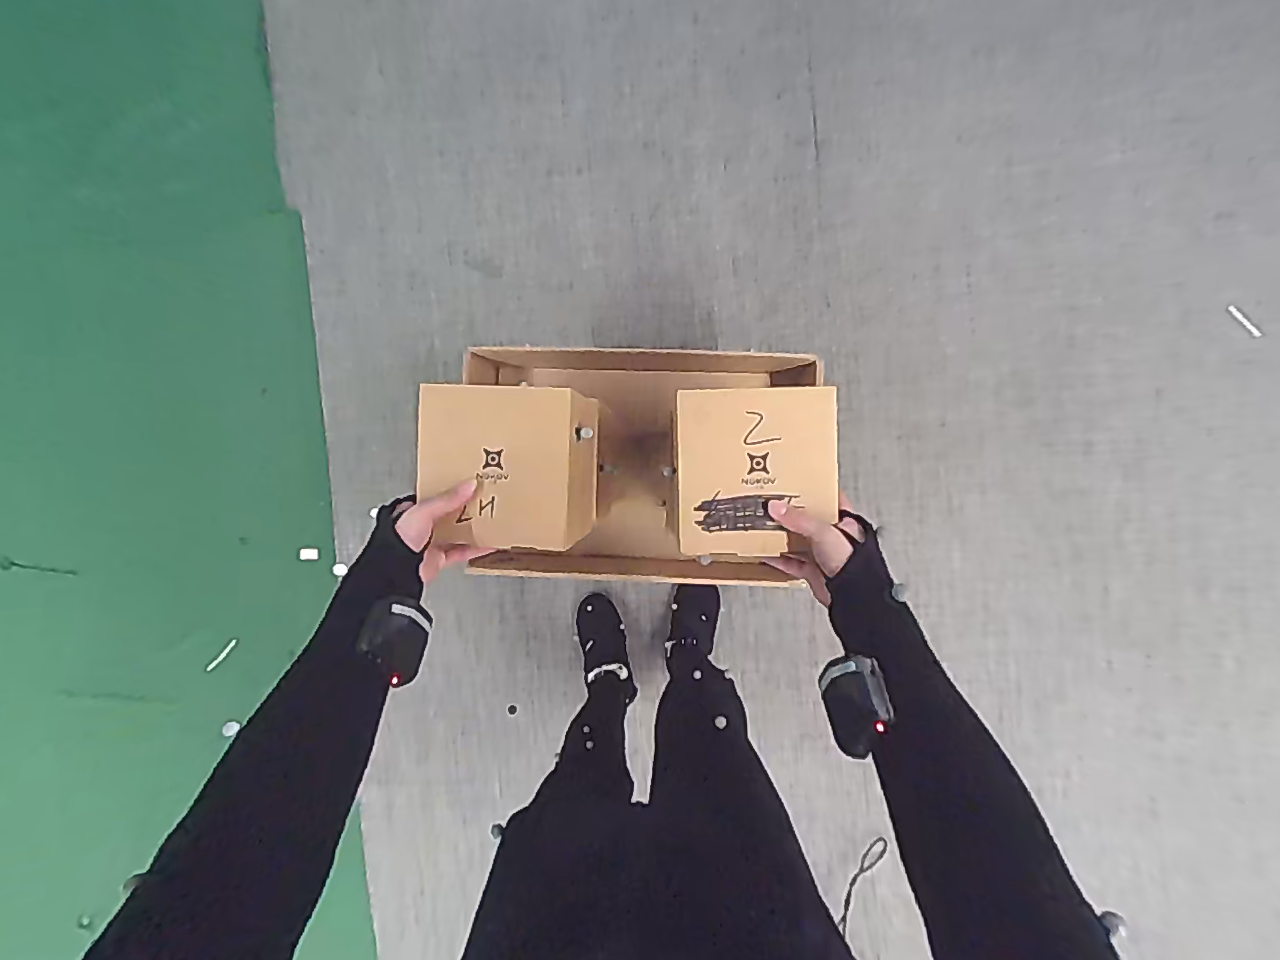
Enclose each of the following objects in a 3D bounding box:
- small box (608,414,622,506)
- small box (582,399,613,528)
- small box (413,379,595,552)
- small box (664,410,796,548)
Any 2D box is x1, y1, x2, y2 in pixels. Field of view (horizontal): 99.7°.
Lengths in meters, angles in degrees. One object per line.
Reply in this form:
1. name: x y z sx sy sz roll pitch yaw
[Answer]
1. small box: -0.131 -0.033 0.973 0.179 0.176 0.168 3 91 3
2. small box: -0.133 -0.027 0.809 0.168 0.176 0.179 3 92 4
3. small box: -0.149 -0.017 0.646 0.168 0.176 0.179 3 92 4
4. small box: 0.123 -0.003 0.791 0.168 0.176 0.179 3 90 2
